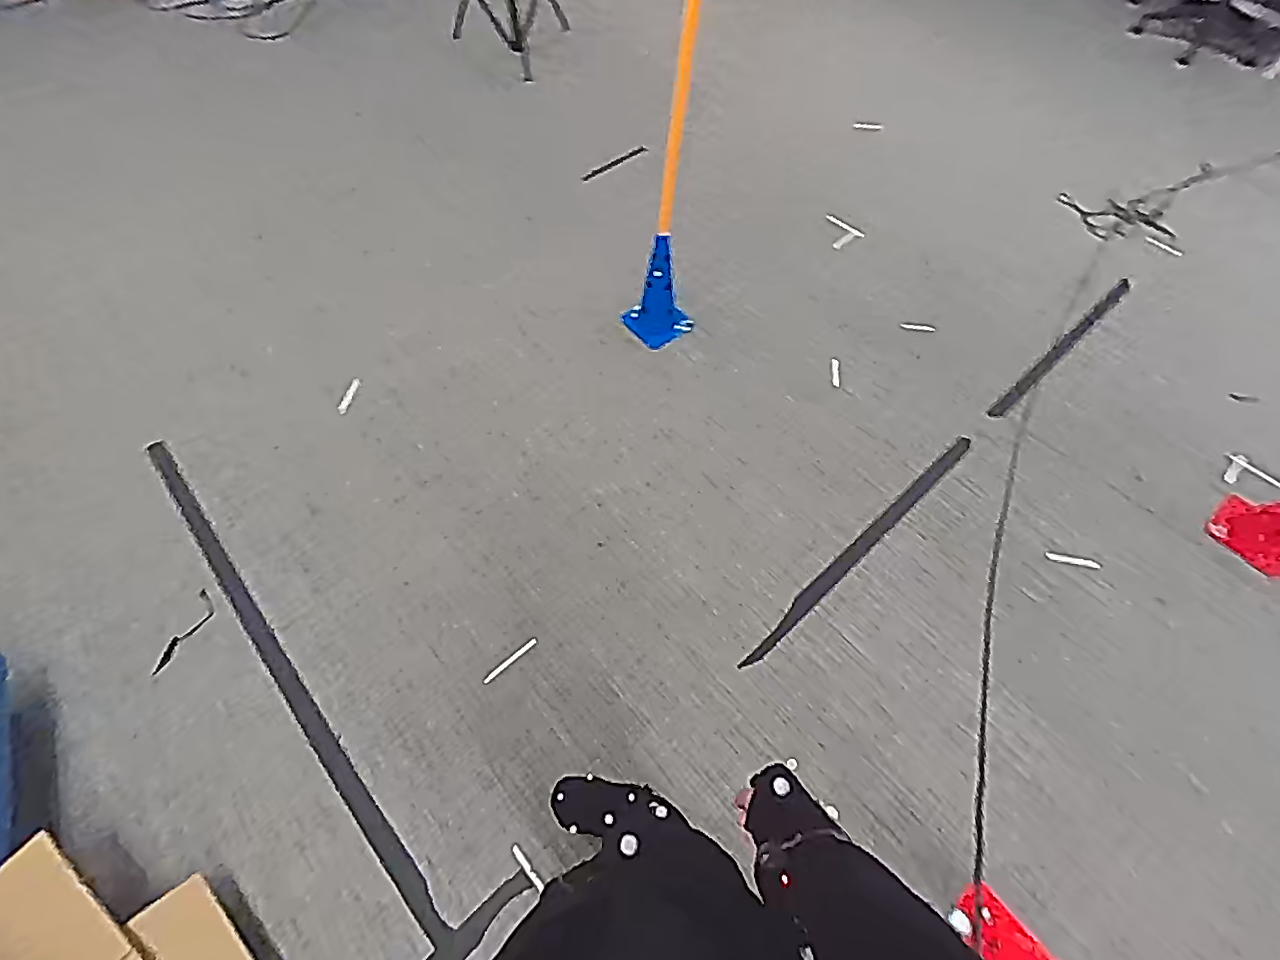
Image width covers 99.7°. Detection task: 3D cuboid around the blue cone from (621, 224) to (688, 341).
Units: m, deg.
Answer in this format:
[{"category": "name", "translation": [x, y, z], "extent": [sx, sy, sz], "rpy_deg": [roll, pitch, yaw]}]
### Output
[{"category": "blue cone", "translation": [0.054, -0.655, 1.764], "extent": [0.192, 0.380, 0.193], "rpy_deg": [-34, 67, -19]}]

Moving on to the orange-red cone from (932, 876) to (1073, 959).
[{"category": "orange-red cone", "translation": [0.703, 0.849, 0.911], "extent": [0.199, 0.360, 0.198], "rpy_deg": [-35, 67, -18]}]
